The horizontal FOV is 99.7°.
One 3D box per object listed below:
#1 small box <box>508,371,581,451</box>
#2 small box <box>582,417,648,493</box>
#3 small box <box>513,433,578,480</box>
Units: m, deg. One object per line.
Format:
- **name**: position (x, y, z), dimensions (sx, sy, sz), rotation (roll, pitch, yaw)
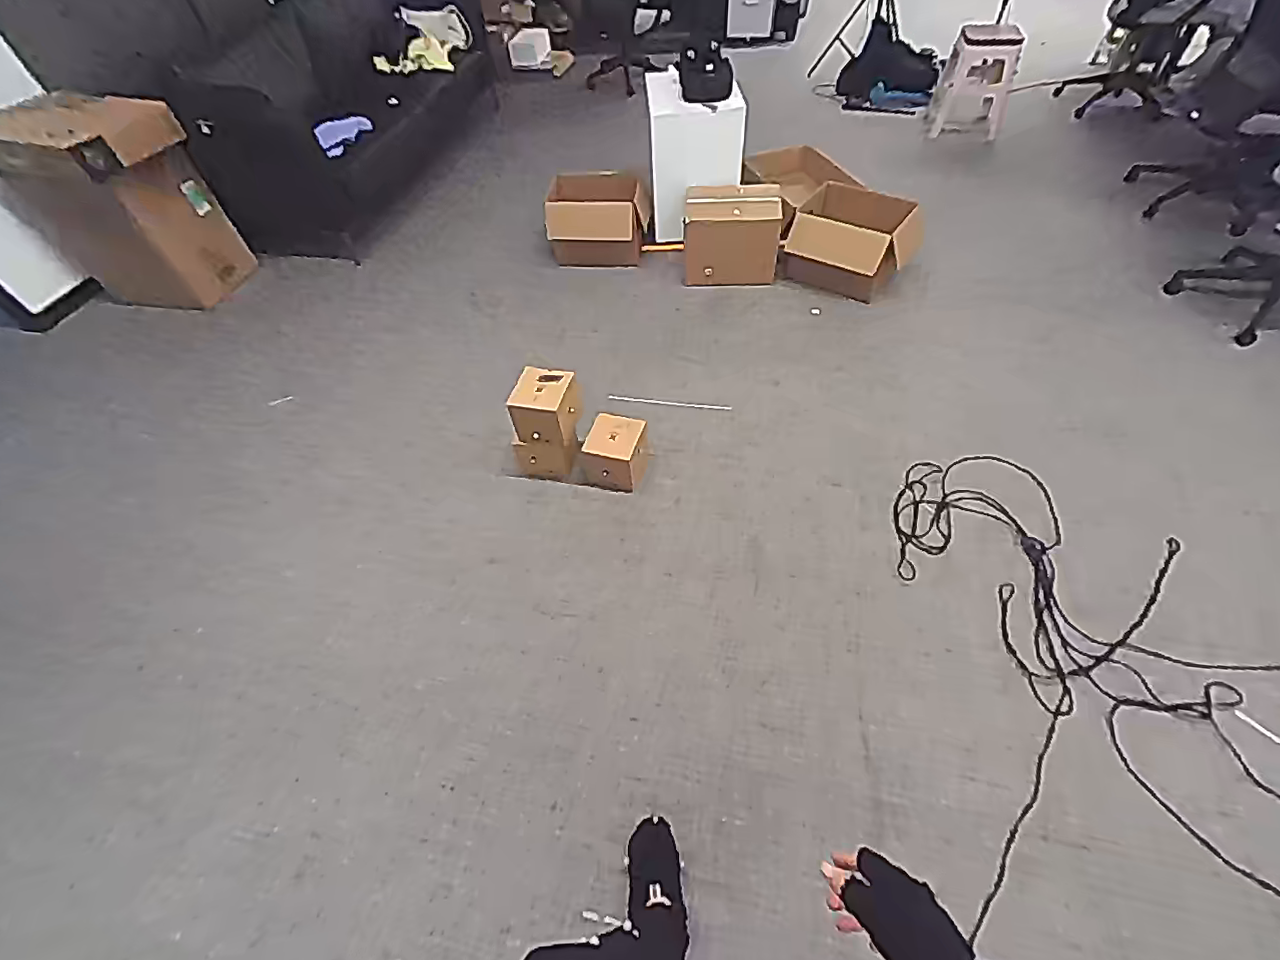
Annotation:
- **small box**: position (-0.293, -0.218, 1.715), dimensions (0.168, 0.176, 0.179), rotation (9, 54, 12)
- **small box**: position (-0.075, -0.079, 1.794), dimensions (0.168, 0.176, 0.179), rotation (12, 54, 14)
- **small box**: position (-0.314, -0.116, 1.846), dimensions (0.168, 0.176, 0.179), rotation (3, 52, 8)
